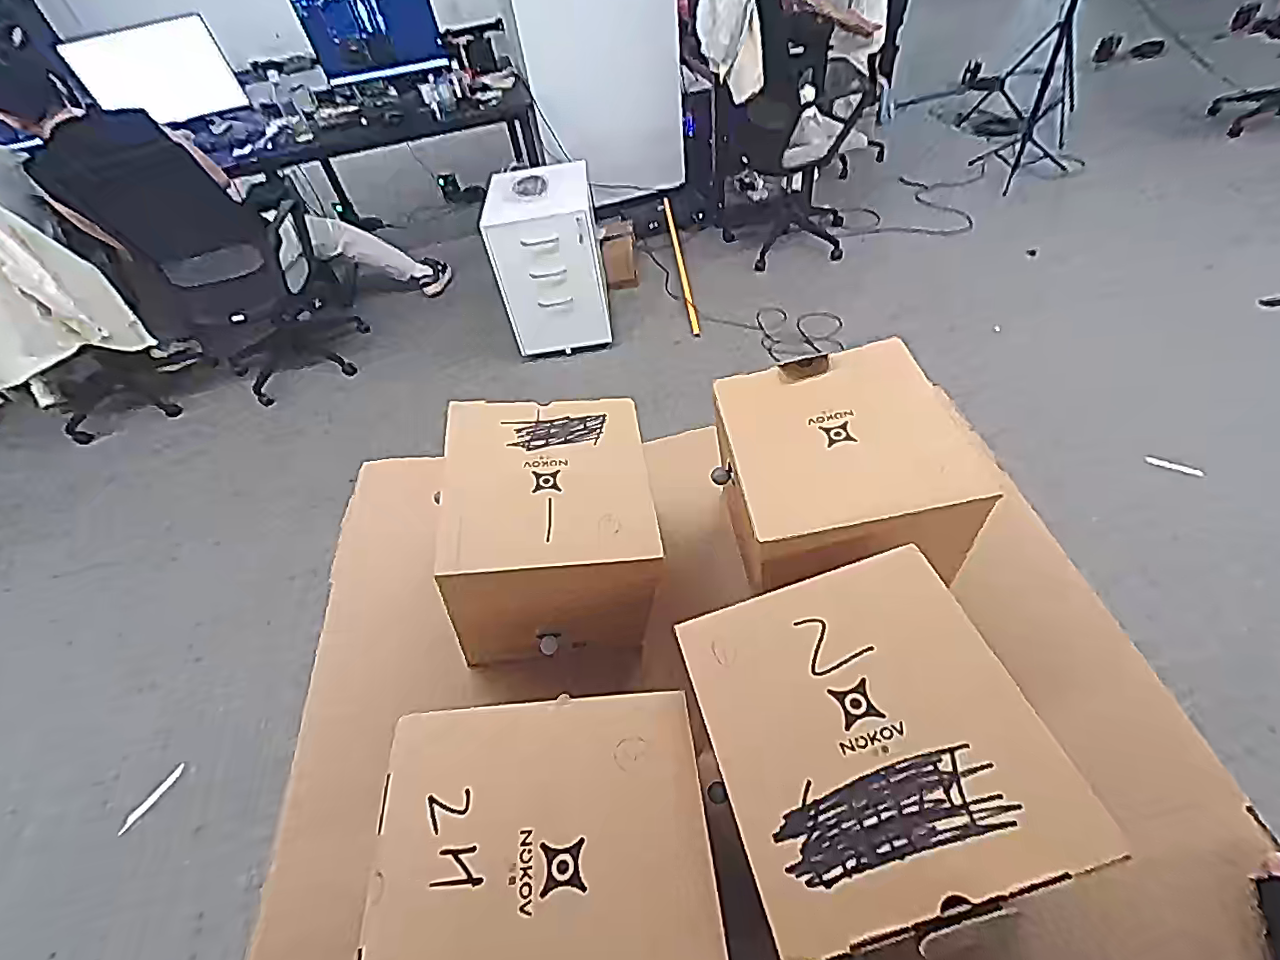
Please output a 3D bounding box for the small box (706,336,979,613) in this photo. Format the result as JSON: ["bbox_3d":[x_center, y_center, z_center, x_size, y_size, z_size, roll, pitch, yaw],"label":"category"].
[{"bbox_3d":[0.163,0.005,0.489,0.168,0.176,0.179,-12,50,5],"label":"small box"}]
